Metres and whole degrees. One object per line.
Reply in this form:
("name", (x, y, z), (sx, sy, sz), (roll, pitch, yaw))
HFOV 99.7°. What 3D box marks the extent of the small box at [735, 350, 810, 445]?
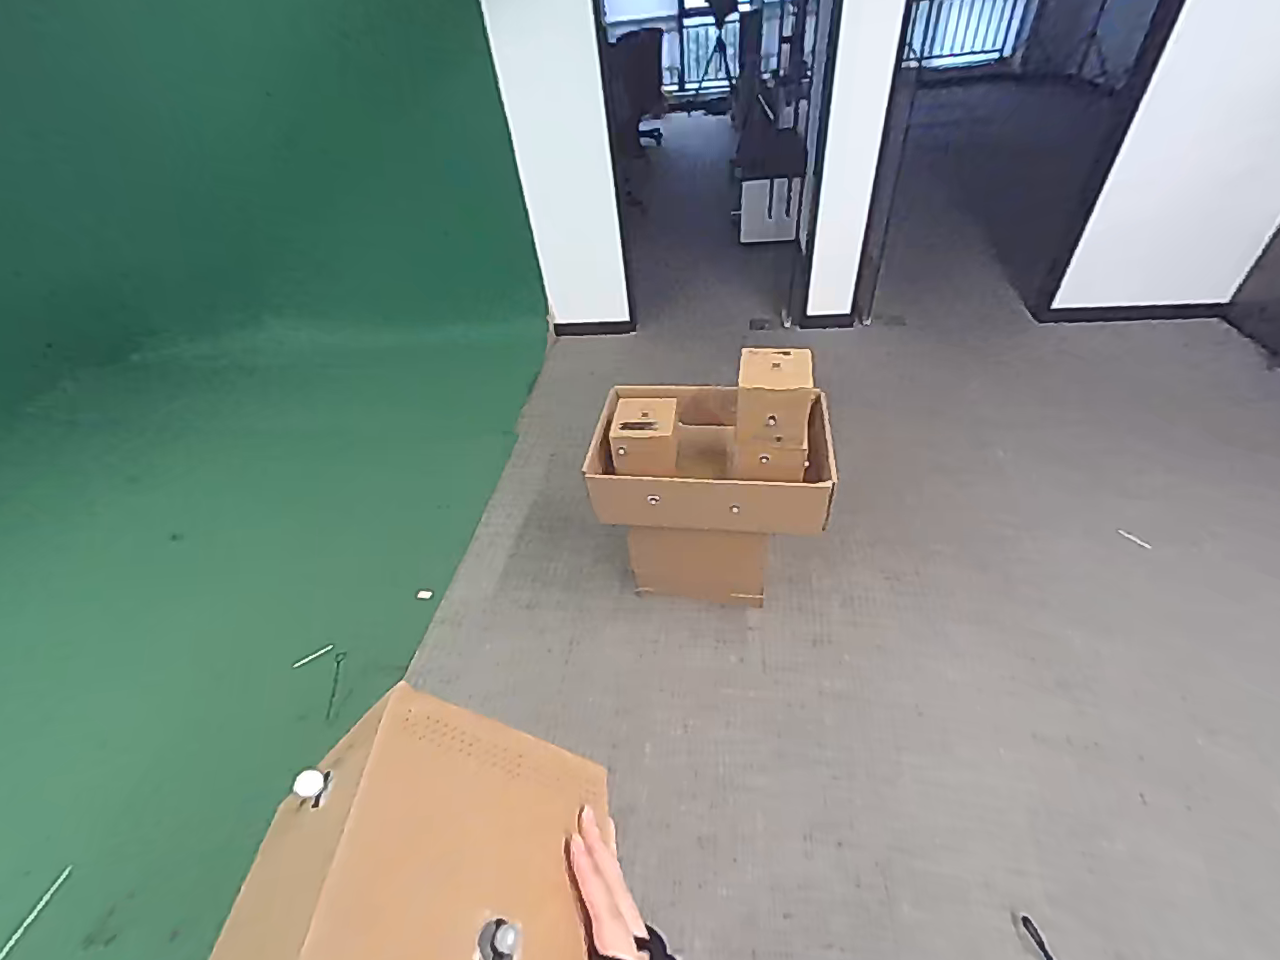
("small box", (0.323, -0.201, 1.322), (0.168, 0.176, 0.179), (4, 44, 12))
